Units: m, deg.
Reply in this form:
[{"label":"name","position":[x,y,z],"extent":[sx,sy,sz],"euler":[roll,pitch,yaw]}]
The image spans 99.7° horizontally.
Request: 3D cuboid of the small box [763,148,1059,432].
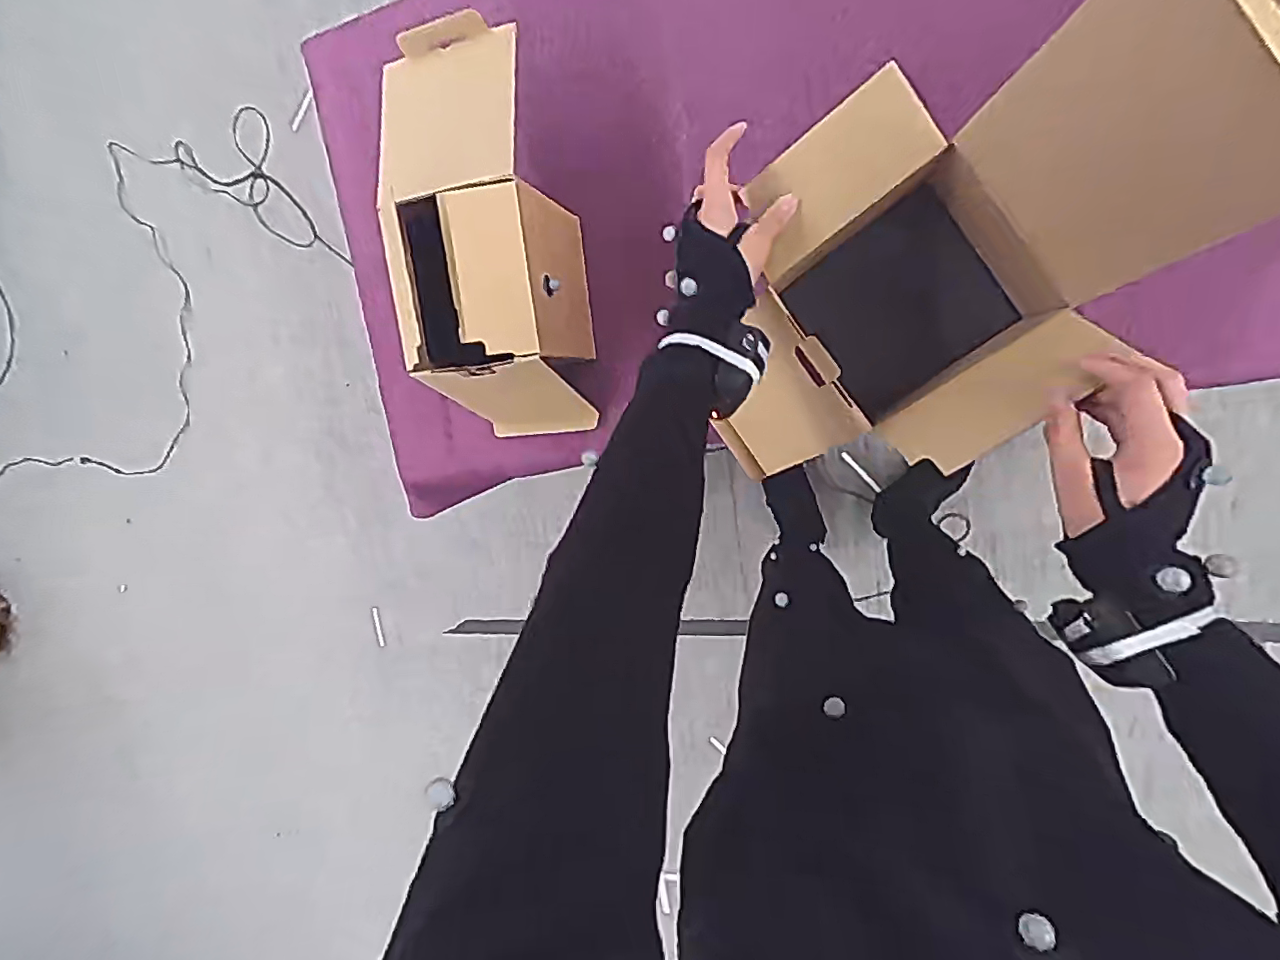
[{"label":"small box","position":[0.243,-0.167,0.530],"extent":[0.179,0.176,0.168],"euler":[-35,90,19]}]
